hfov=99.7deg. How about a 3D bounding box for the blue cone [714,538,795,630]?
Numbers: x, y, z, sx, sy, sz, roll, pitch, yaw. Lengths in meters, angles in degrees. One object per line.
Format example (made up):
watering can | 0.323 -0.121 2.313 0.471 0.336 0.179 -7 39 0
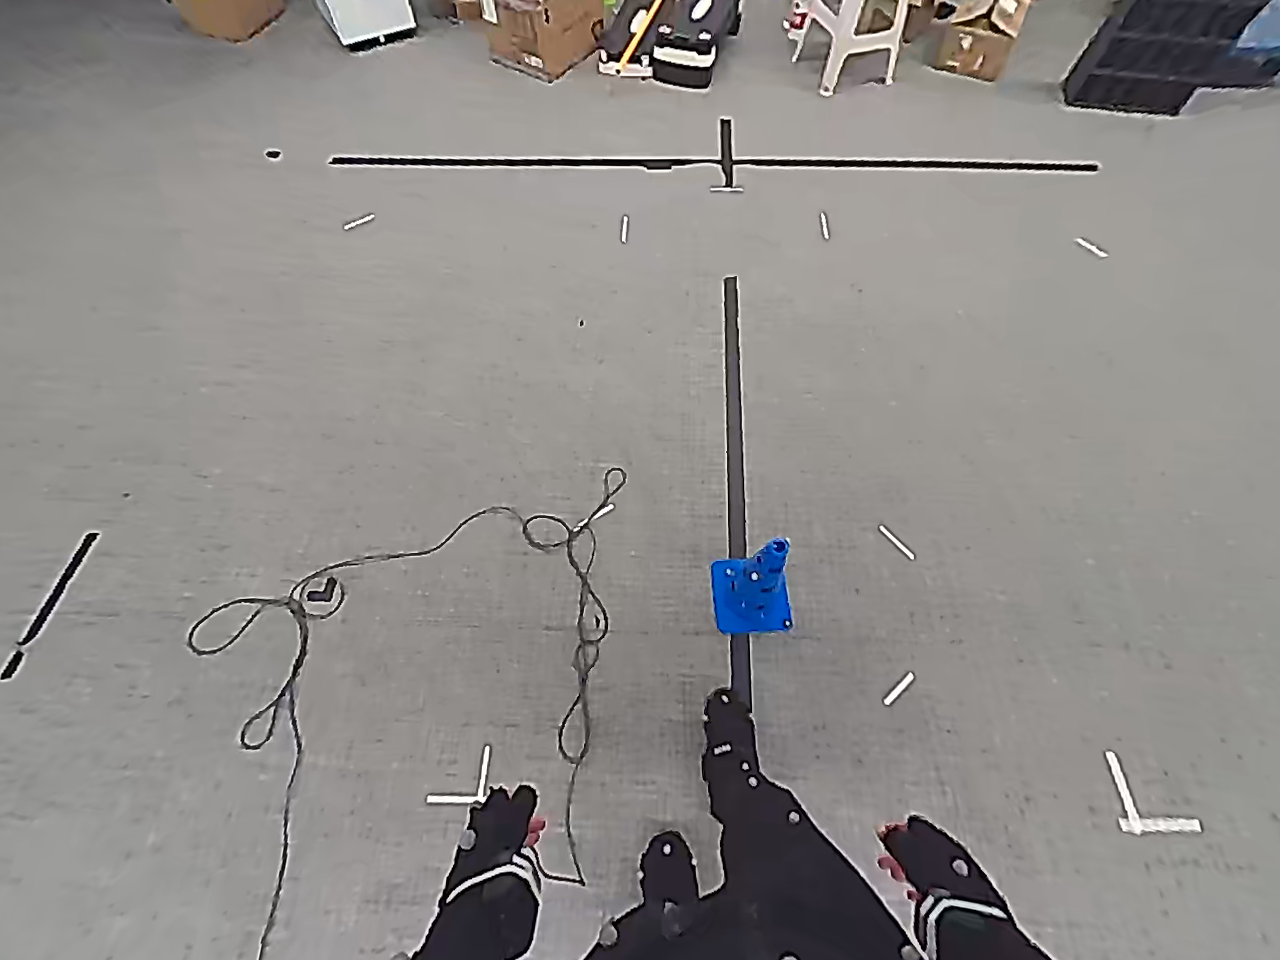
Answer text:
blue cone | 0.299 0.227 1.303 0.192 0.380 0.193 0 62 -1
